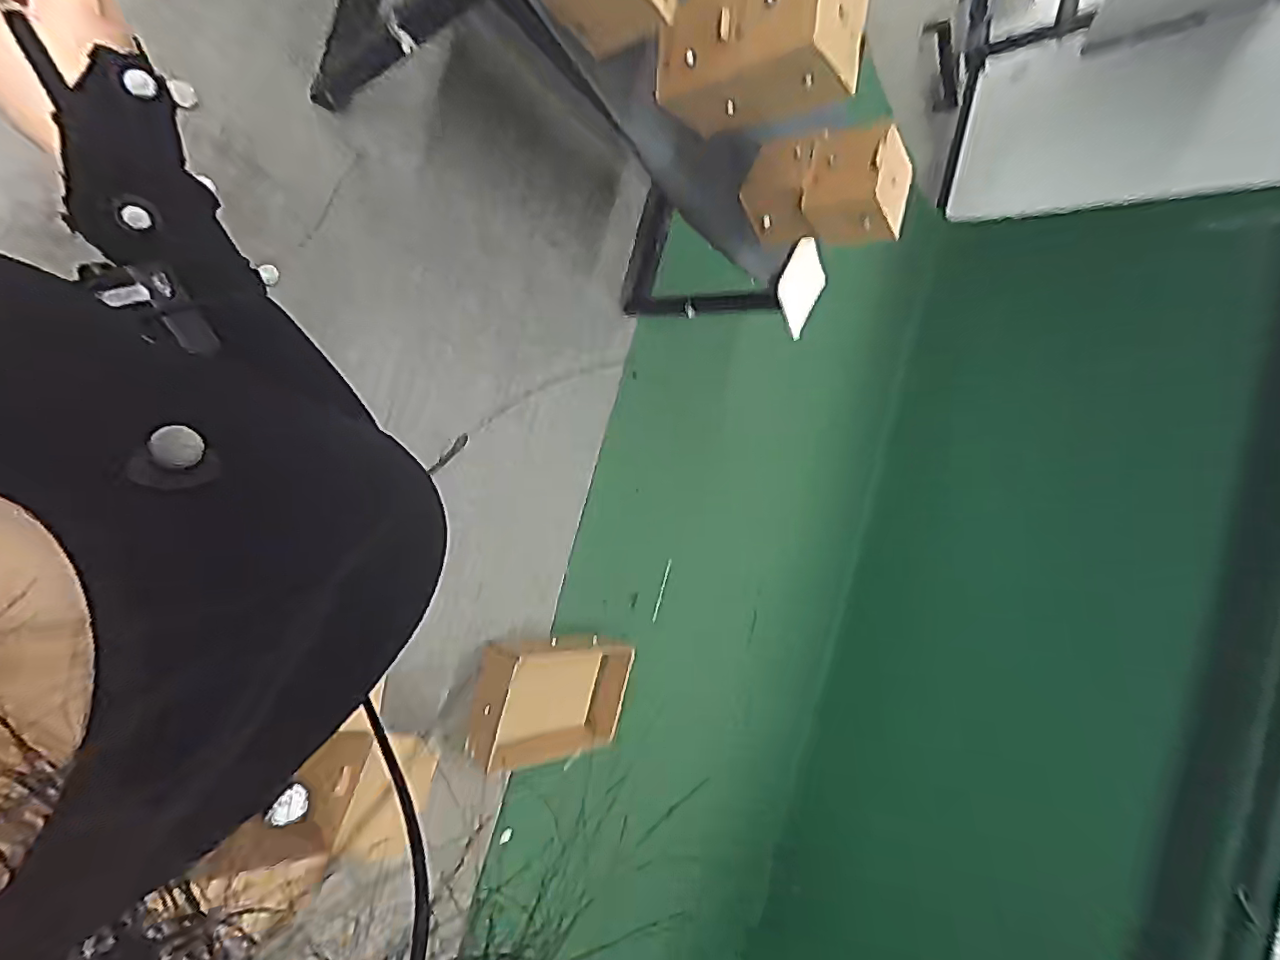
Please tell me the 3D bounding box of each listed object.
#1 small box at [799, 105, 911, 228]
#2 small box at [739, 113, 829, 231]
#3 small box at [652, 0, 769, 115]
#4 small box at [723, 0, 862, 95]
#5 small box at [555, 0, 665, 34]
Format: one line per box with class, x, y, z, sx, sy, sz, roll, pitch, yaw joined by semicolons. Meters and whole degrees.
small box;0.483;-0.689;1.215;0.179;0.176;0.168;16;87;-49
small box;0.367;-0.742;1.319;0.168;0.176;0.179;40;70;-46
small box;0.142;-0.838;1.038;0.179;0.176;0.168;-8;107;-48
small box;0.263;-0.805;0.932;0.179;0.176;0.168;-4;104;-49
small box;-0.056;-0.834;0.808;0.168;0.176;0.179;10;93;-50
